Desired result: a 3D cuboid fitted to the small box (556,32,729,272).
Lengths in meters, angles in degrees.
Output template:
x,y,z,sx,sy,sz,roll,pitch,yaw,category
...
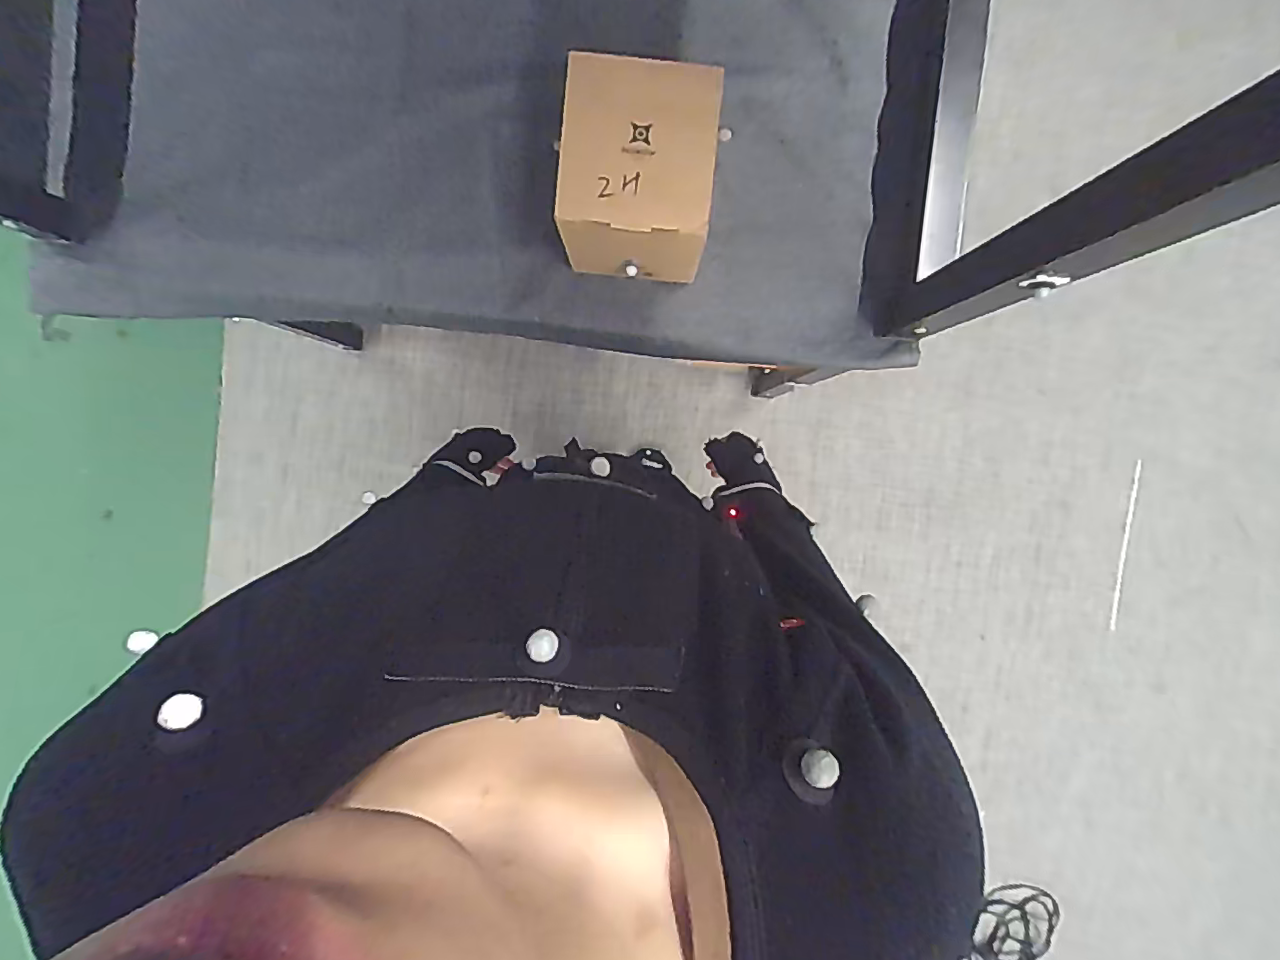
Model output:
x,y,z,sx,sy,sz,roll,pitch,yaw,category
0.002,-0.370,0.641,0.168,0.176,0.179,6,93,0,small box
